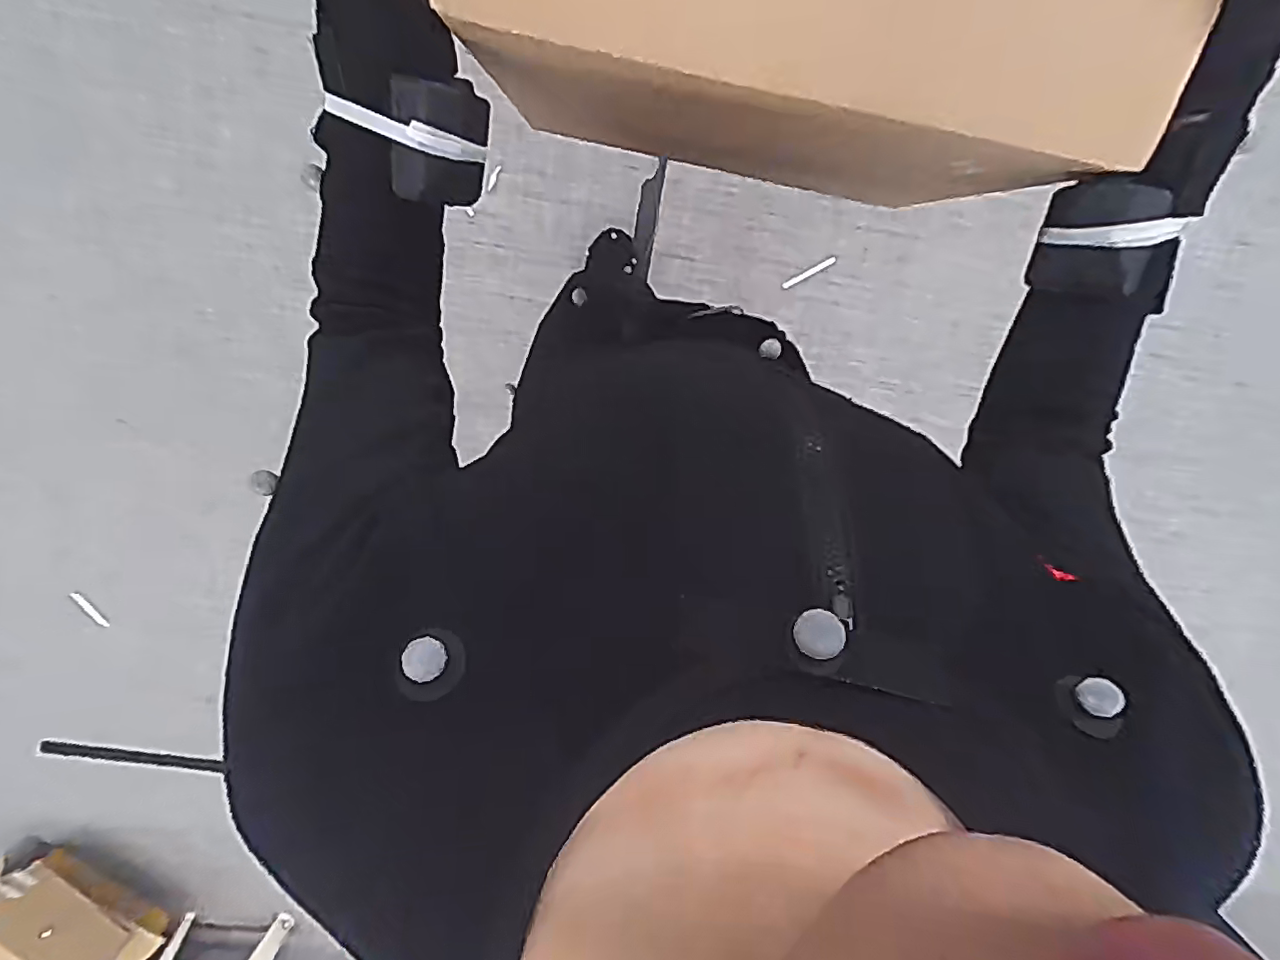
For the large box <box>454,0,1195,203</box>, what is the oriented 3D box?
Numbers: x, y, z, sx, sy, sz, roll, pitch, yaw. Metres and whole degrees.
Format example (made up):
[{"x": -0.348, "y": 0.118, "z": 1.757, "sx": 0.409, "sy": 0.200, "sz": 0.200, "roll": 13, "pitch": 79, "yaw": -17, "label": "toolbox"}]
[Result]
[{"x": 0.112, "y": -0.412, "z": 0.386, "sx": 0.408, "sy": 0.320, "sz": 0.320, "roll": 9, "pitch": 114, "yaw": -6, "label": "large box"}]
